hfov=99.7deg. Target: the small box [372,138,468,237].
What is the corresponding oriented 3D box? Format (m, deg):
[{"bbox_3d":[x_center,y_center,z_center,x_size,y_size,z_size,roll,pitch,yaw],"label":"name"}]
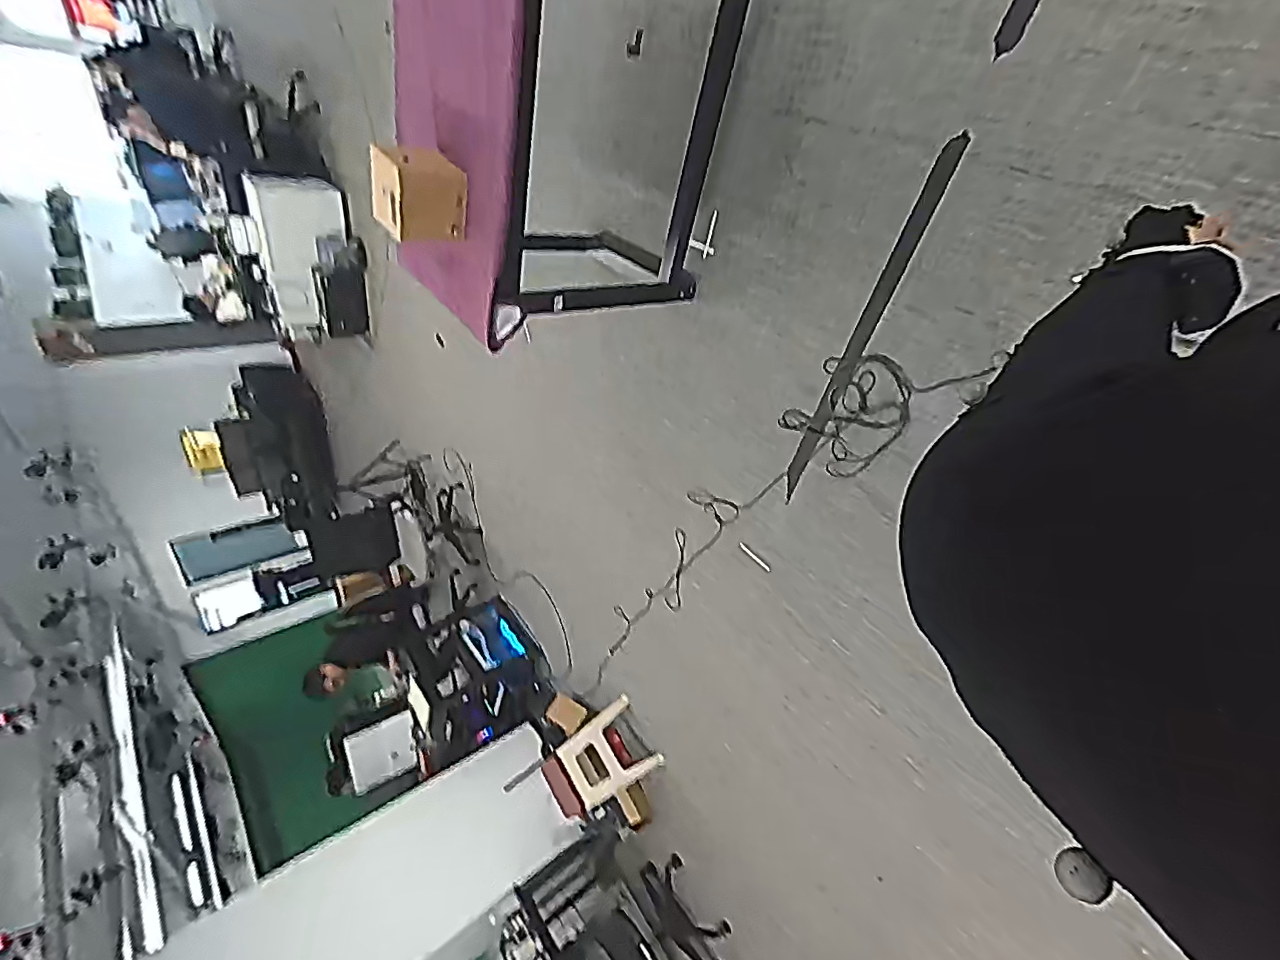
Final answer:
[{"bbox_3d":[-0.541,-0.722,1.340,0.179,0.176,0.168,47,136,28],"label":"small box"}]
